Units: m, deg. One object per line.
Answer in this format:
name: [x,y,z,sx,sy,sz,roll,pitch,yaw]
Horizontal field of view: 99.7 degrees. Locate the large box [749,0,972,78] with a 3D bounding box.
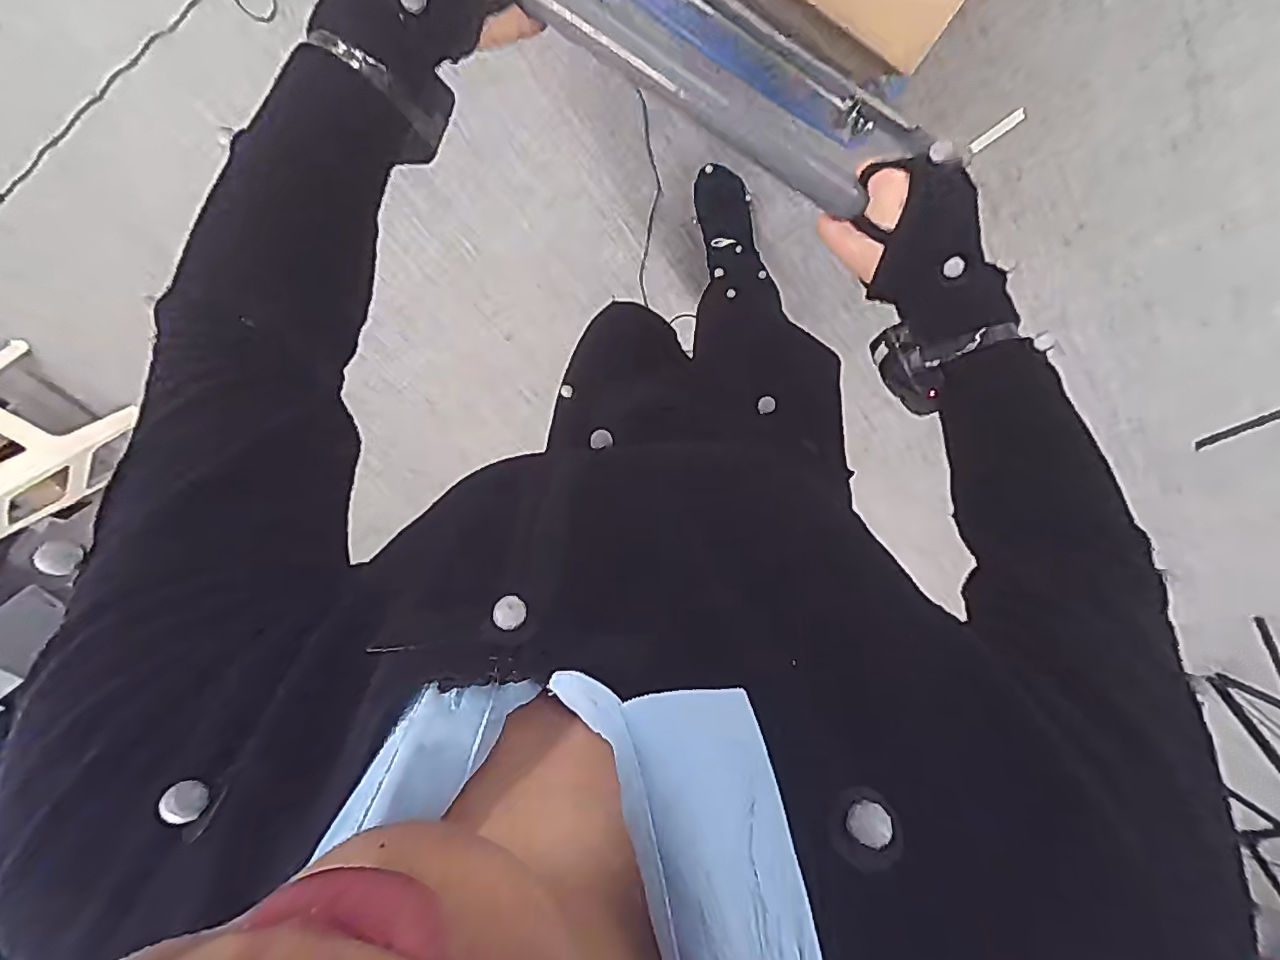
large box: [0.235,-0.746,0.627,0.408,0.320,0.320,26,126,-13]
